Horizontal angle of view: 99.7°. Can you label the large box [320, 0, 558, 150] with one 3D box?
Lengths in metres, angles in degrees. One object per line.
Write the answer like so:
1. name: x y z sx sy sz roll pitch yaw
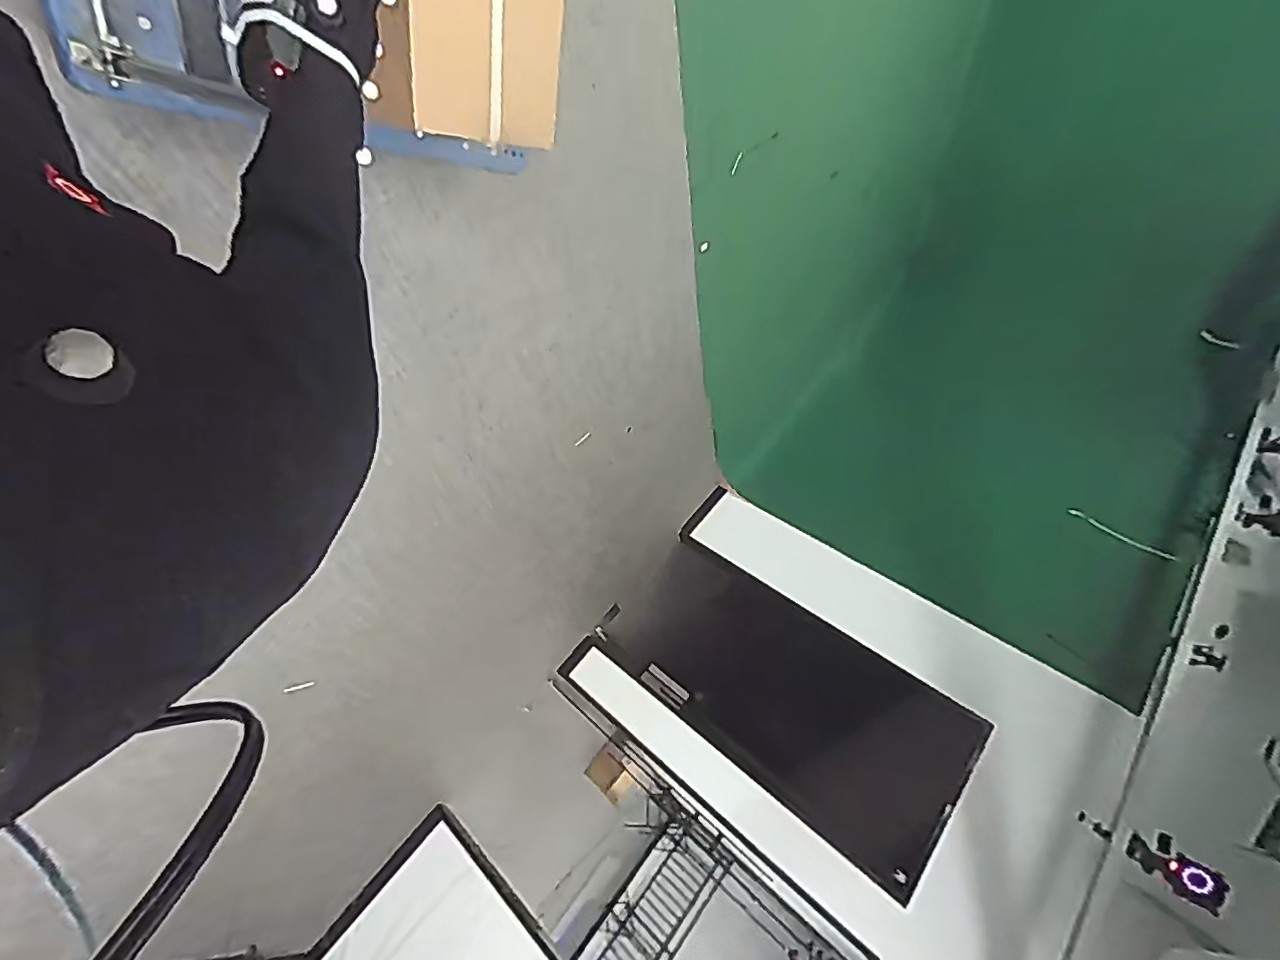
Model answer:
1. large box: -0.367 -0.864 0.990 0.320 0.320 0.408 -27 137 -45
